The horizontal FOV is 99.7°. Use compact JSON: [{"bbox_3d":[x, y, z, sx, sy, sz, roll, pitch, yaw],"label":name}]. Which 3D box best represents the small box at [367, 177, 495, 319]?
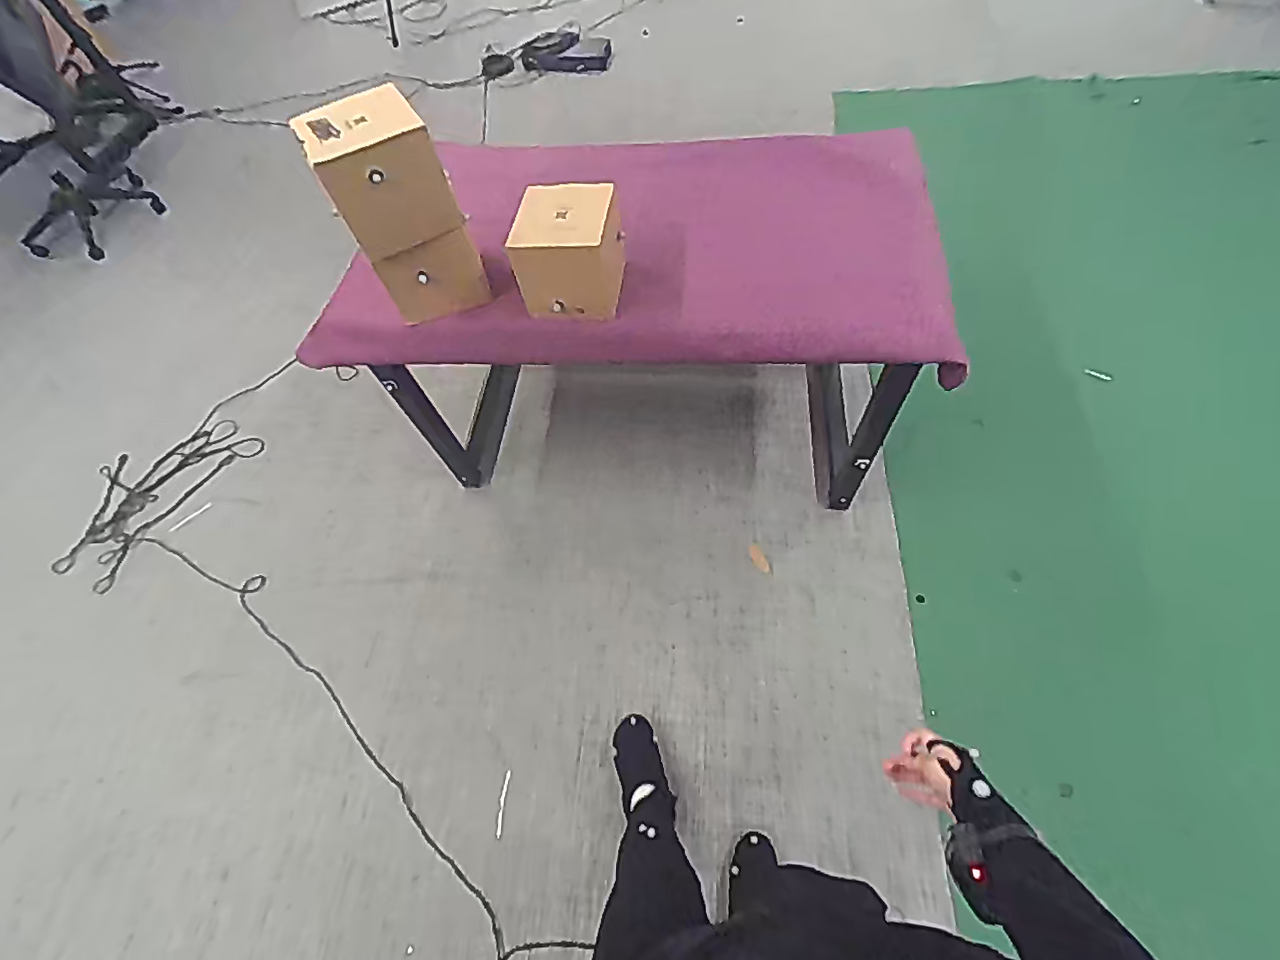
[{"bbox_3d":[-0.402,-0.440,1.042,0.179,0.176,0.168,-19,60,-5],"label":"small box"}]

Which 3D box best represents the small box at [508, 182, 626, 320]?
[{"bbox_3d":[-0.124,-0.423,1.004,0.168,0.176,0.179,3,60,9],"label":"small box"}]

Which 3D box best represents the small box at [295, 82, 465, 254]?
[{"bbox_3d":[-0.420,-0.508,0.893,0.179,0.176,0.168,-29,61,-12],"label":"small box"}]
